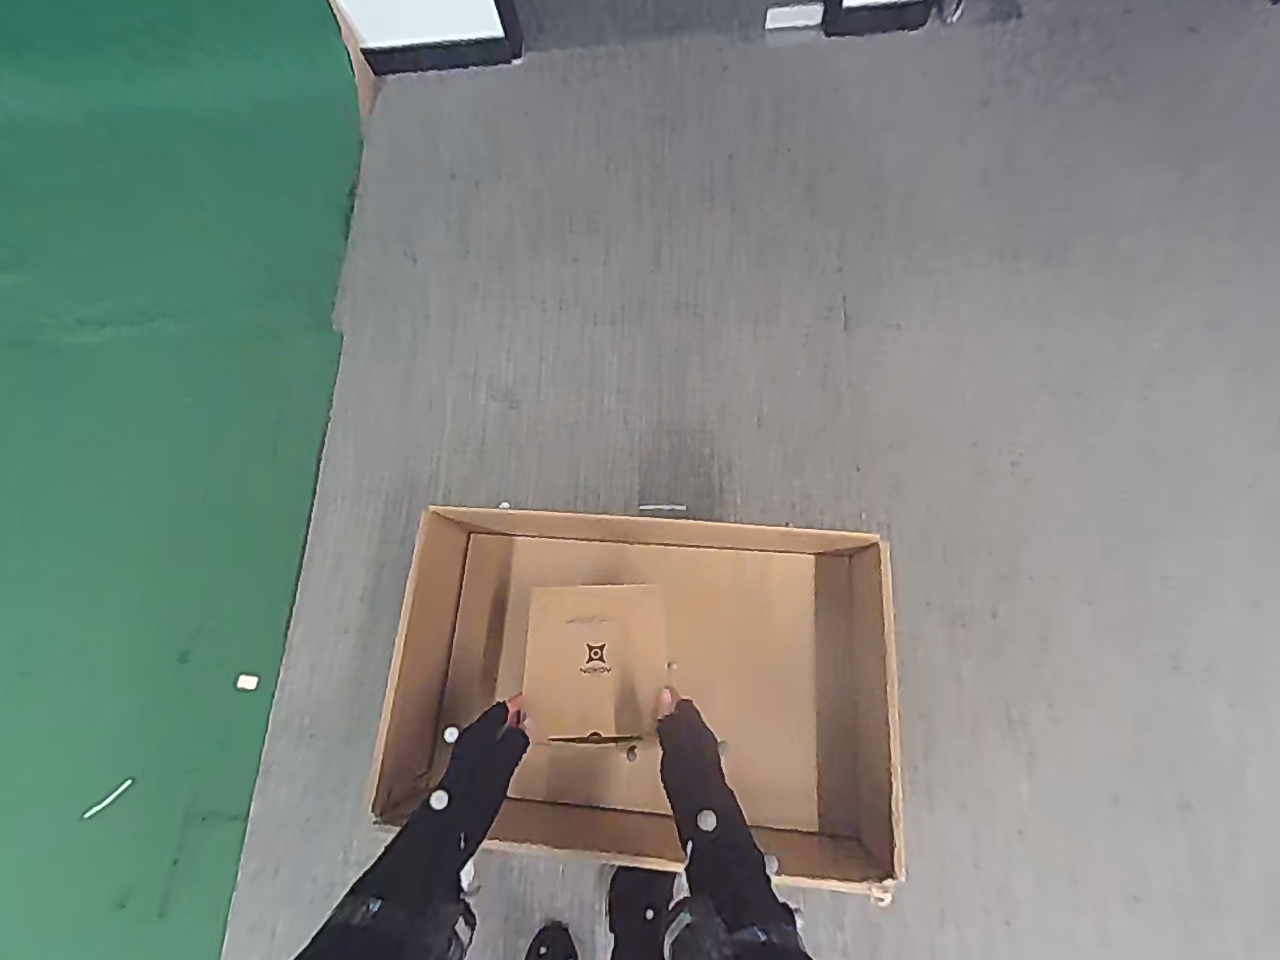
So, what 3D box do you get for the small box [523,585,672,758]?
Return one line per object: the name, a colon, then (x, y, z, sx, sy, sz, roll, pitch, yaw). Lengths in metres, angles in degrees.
small box: (-0.045, 0.251, 0.692, 0.168, 0.176, 0.179, -3, 55, 0)
